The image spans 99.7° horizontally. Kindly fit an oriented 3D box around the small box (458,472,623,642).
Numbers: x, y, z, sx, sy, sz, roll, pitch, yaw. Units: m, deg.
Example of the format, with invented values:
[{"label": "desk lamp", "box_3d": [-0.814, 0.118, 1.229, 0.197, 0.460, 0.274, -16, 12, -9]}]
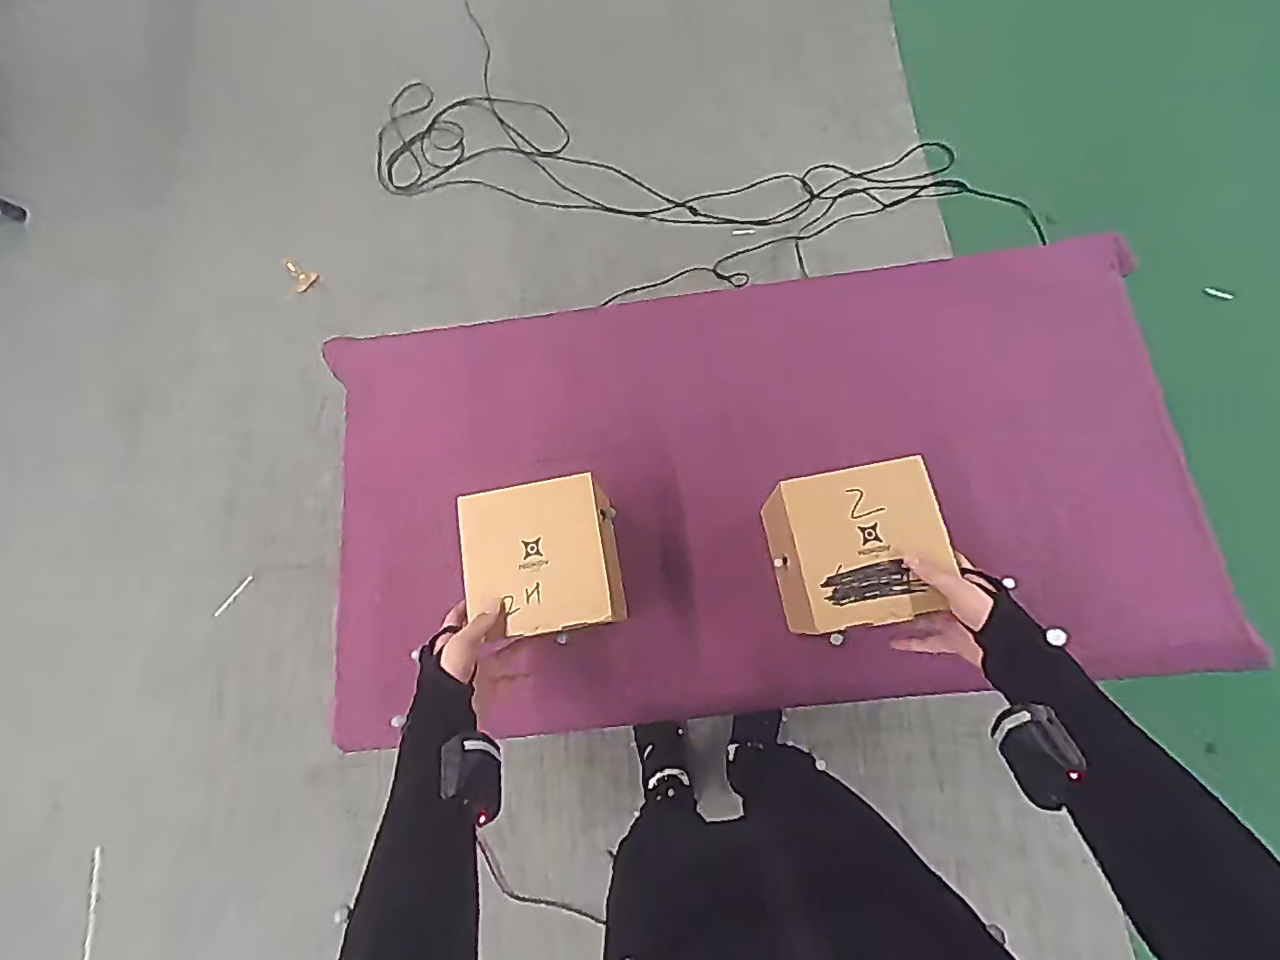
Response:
[{"label": "small box", "box_3d": [-0.118, 0.105, 0.691, 0.168, 0.176, 0.179, -10, 76, 2]}]
